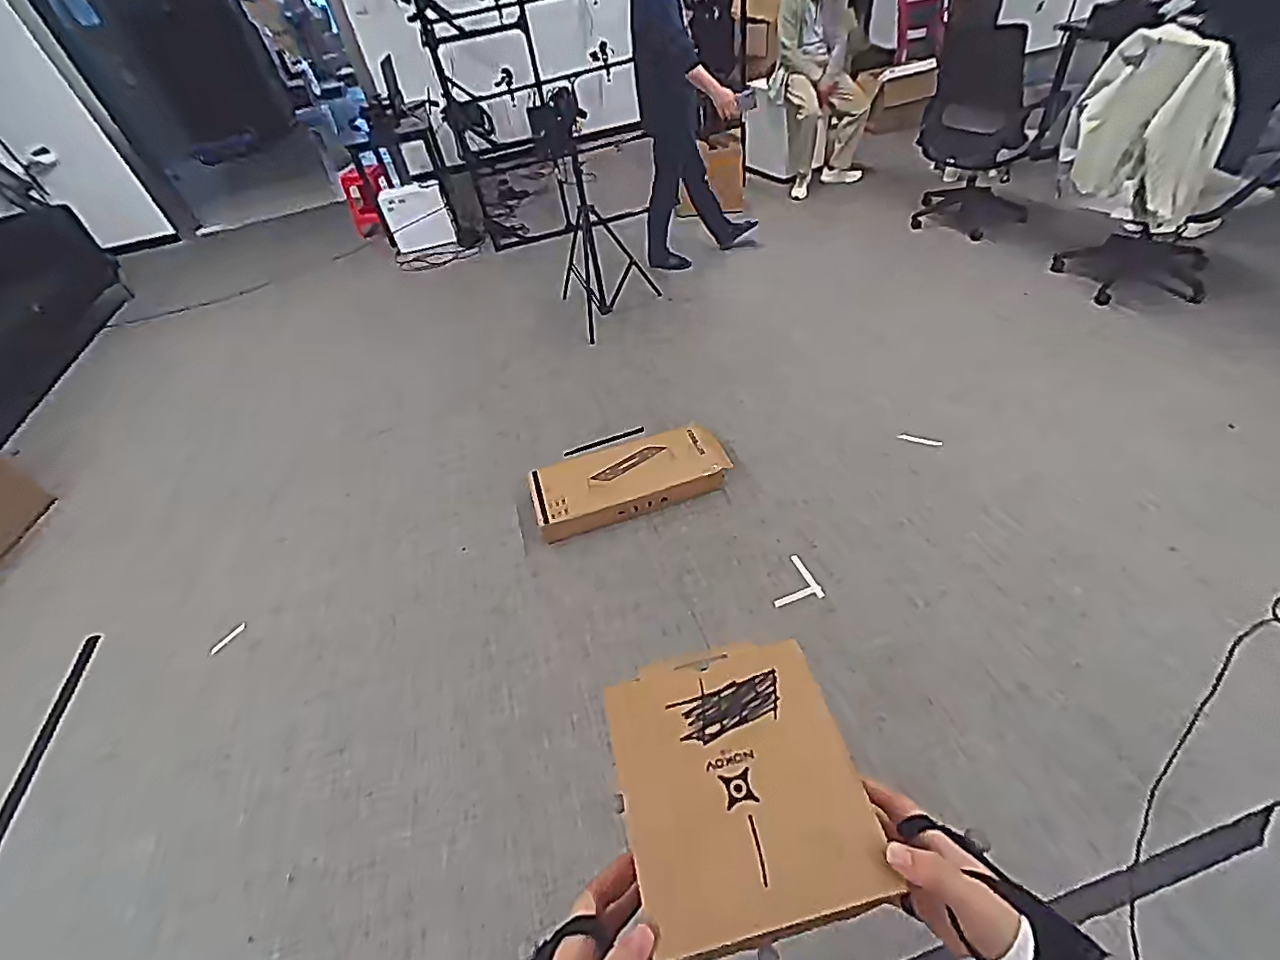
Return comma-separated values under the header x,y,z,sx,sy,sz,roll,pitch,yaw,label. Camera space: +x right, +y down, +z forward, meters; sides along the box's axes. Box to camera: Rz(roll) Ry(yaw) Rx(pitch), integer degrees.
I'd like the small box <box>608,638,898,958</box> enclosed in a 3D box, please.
x,y,z,sx,sy,sz,roll,pitch,yaw,label
0.076,0.265,0.451,0.168,0.176,0.179,-14,48,-3,small box
